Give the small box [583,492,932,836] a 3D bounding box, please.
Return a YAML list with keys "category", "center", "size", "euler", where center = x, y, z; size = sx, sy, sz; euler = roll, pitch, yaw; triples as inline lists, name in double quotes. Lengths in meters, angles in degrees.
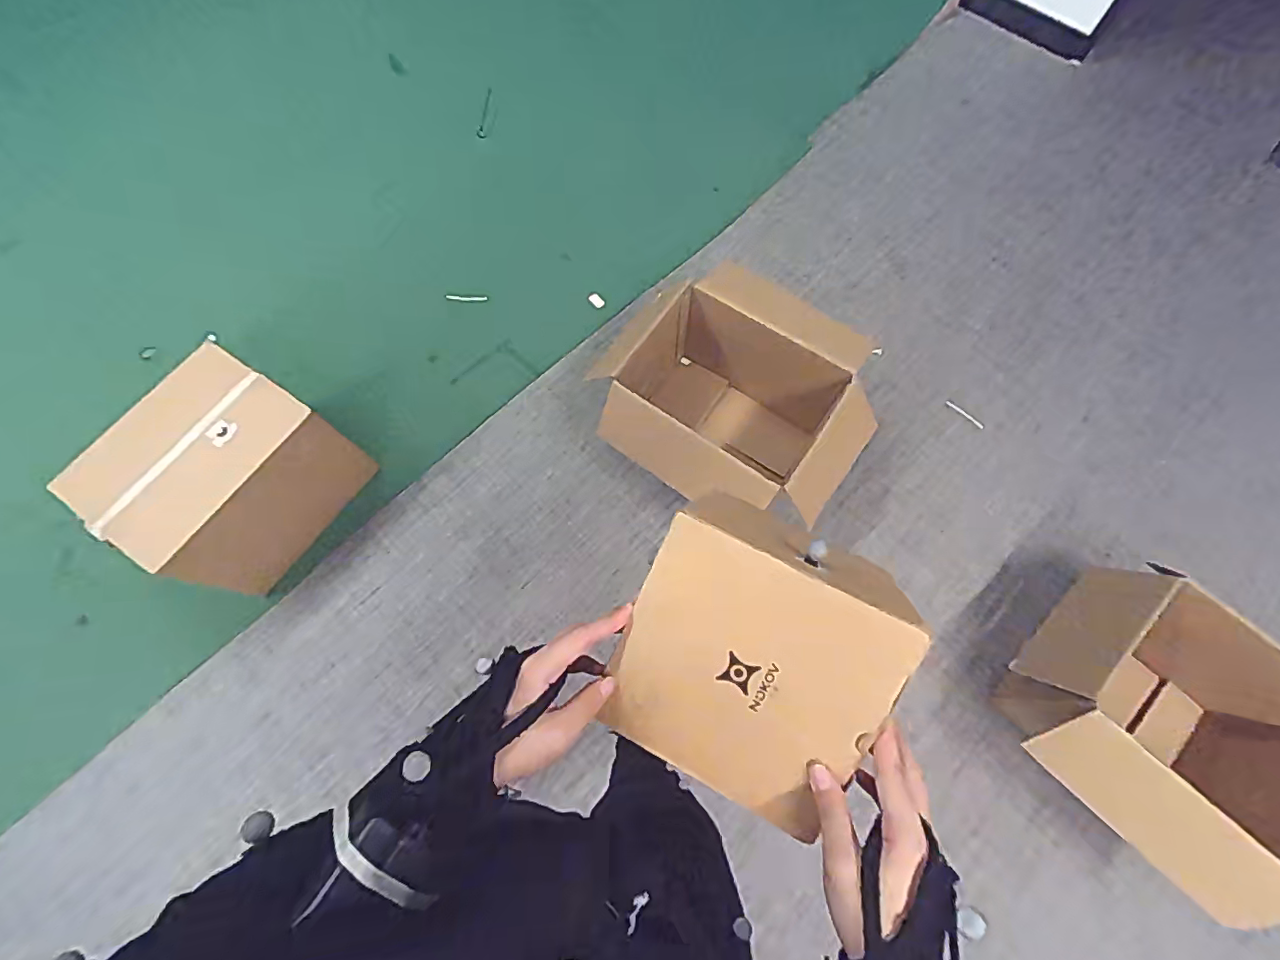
- category: "small box"
  center: [0.087, 0.117, 0.430]
  size: [0.179, 0.176, 0.168]
  euler: [26, 100, 11]
